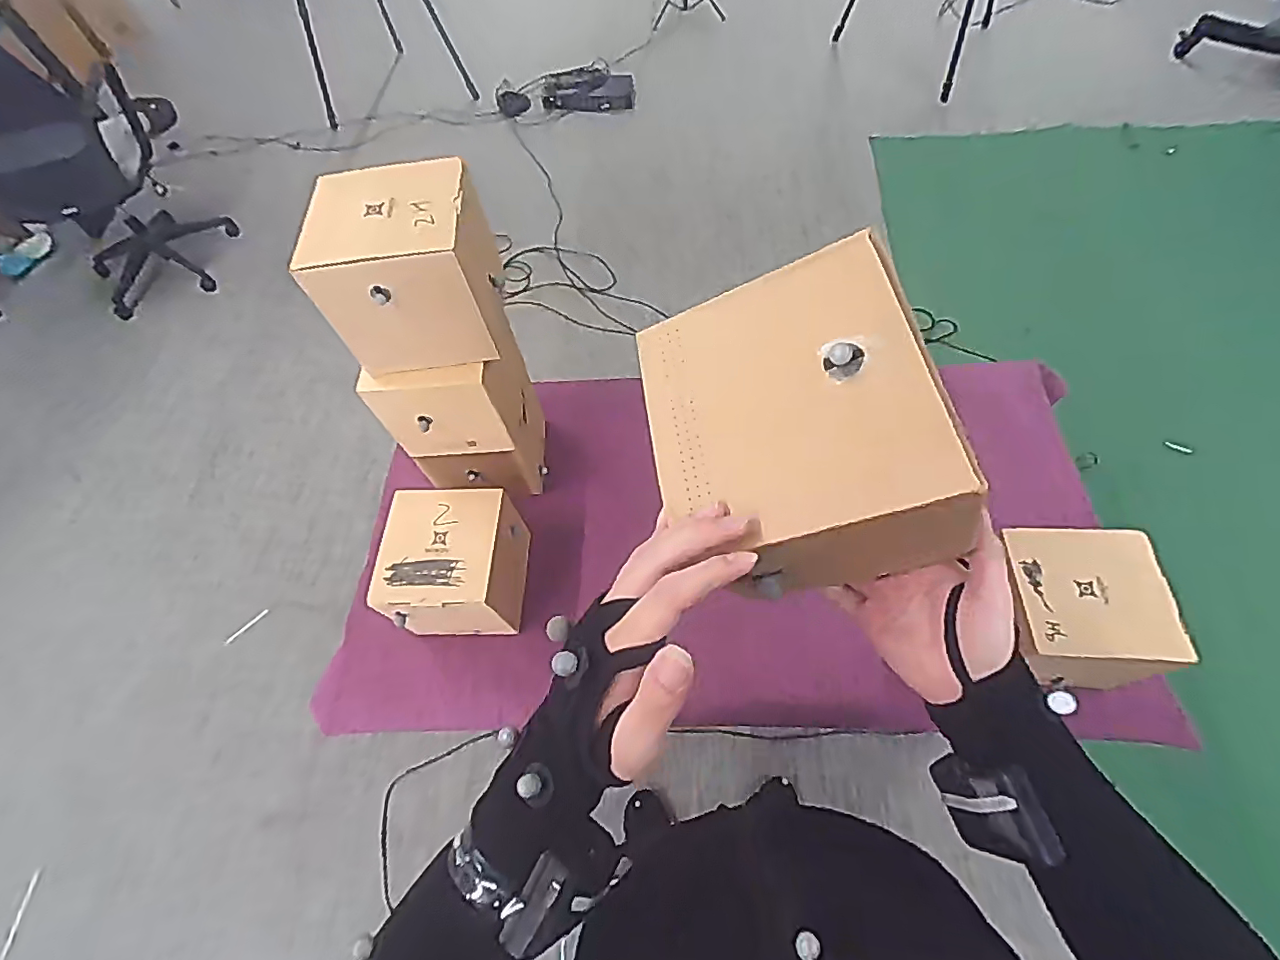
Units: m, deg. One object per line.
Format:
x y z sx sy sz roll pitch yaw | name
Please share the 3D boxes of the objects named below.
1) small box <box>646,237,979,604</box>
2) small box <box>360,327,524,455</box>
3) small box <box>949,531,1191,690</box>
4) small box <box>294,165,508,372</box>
0.114 -0.023 0.387 0.176 0.168 0.179 -18 63 23 | small box
-0.275 -0.148 0.798 0.168 0.176 0.179 -4 60 2 | small box
0.558 0.182 0.733 0.179 0.176 0.168 2 59 6 | small box
-0.275 -0.251 0.667 0.179 0.176 0.168 -6 61 0 | small box
